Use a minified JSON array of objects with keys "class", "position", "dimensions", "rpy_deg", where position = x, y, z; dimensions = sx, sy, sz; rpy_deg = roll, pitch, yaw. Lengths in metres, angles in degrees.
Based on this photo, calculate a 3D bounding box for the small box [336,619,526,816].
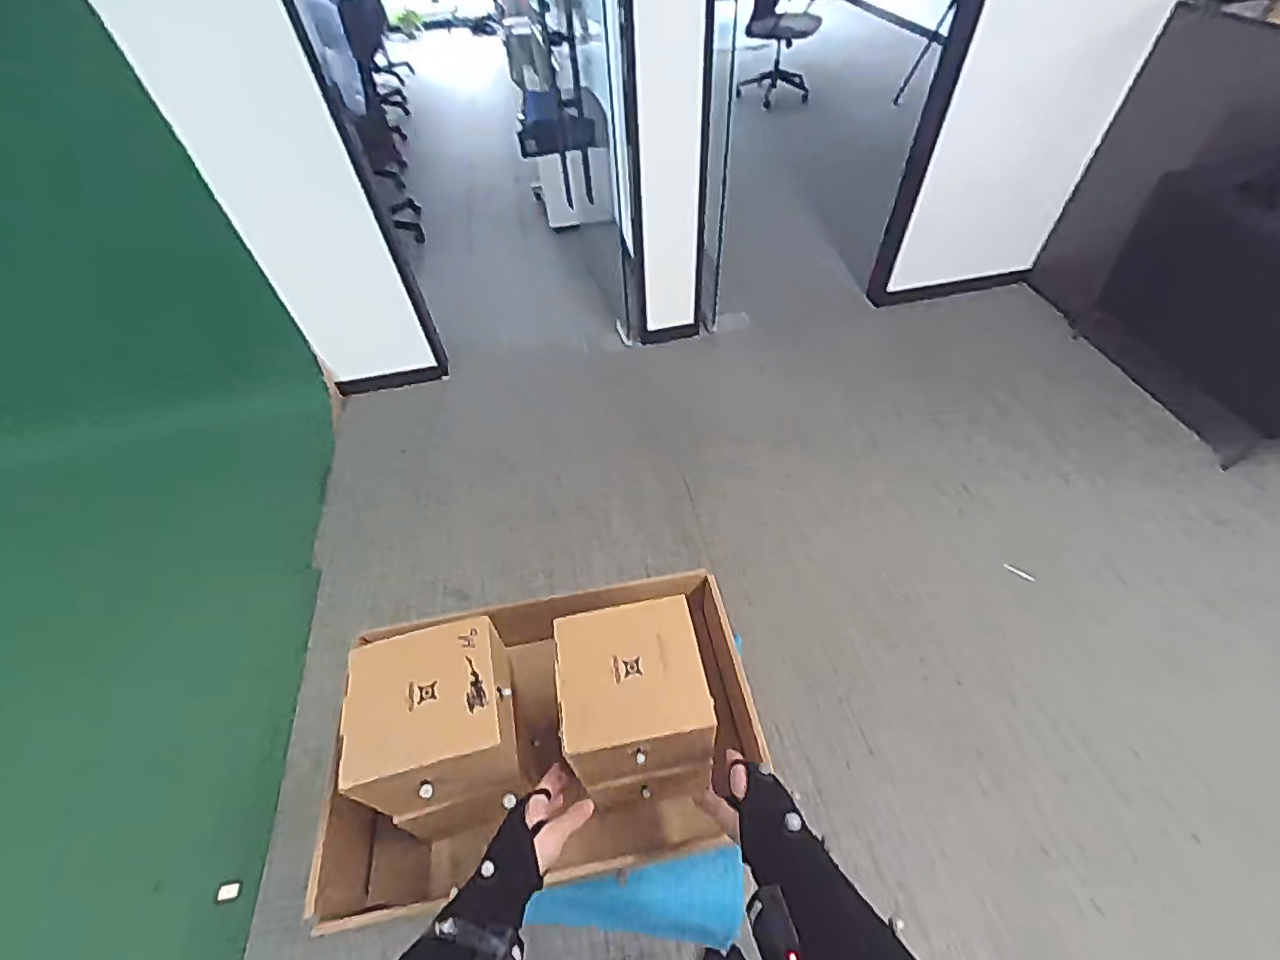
[{"class":"small box","position":[-0.258,0.309,0.698],"dimensions":[0.179,0.176,0.168],"rpy_deg":[-13,50,-9]}]

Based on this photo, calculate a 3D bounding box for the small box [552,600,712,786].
[{"class":"small box","position":[-0.010,0.281,0.705],"dimensions":[0.179,0.176,0.168],"rpy_deg":[-9,50,-3]}]
